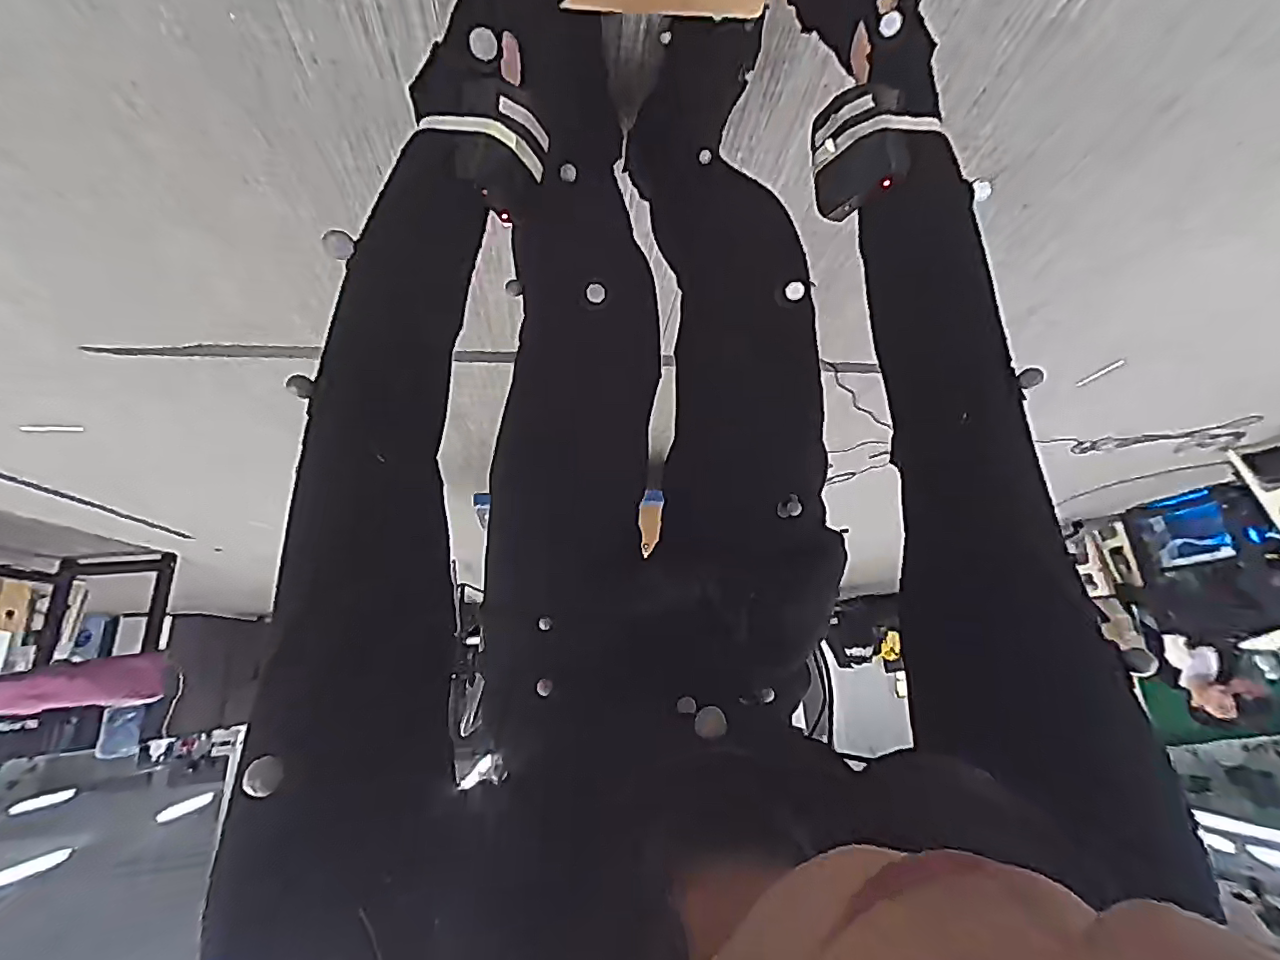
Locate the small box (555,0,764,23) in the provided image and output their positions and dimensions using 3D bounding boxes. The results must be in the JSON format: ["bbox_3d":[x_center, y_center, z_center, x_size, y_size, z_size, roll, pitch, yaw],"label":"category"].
[{"bbox_3d":[0.018,-0.494,0.407,0.179,0.176,0.168,-2,160,-6],"label":"small box"}]
